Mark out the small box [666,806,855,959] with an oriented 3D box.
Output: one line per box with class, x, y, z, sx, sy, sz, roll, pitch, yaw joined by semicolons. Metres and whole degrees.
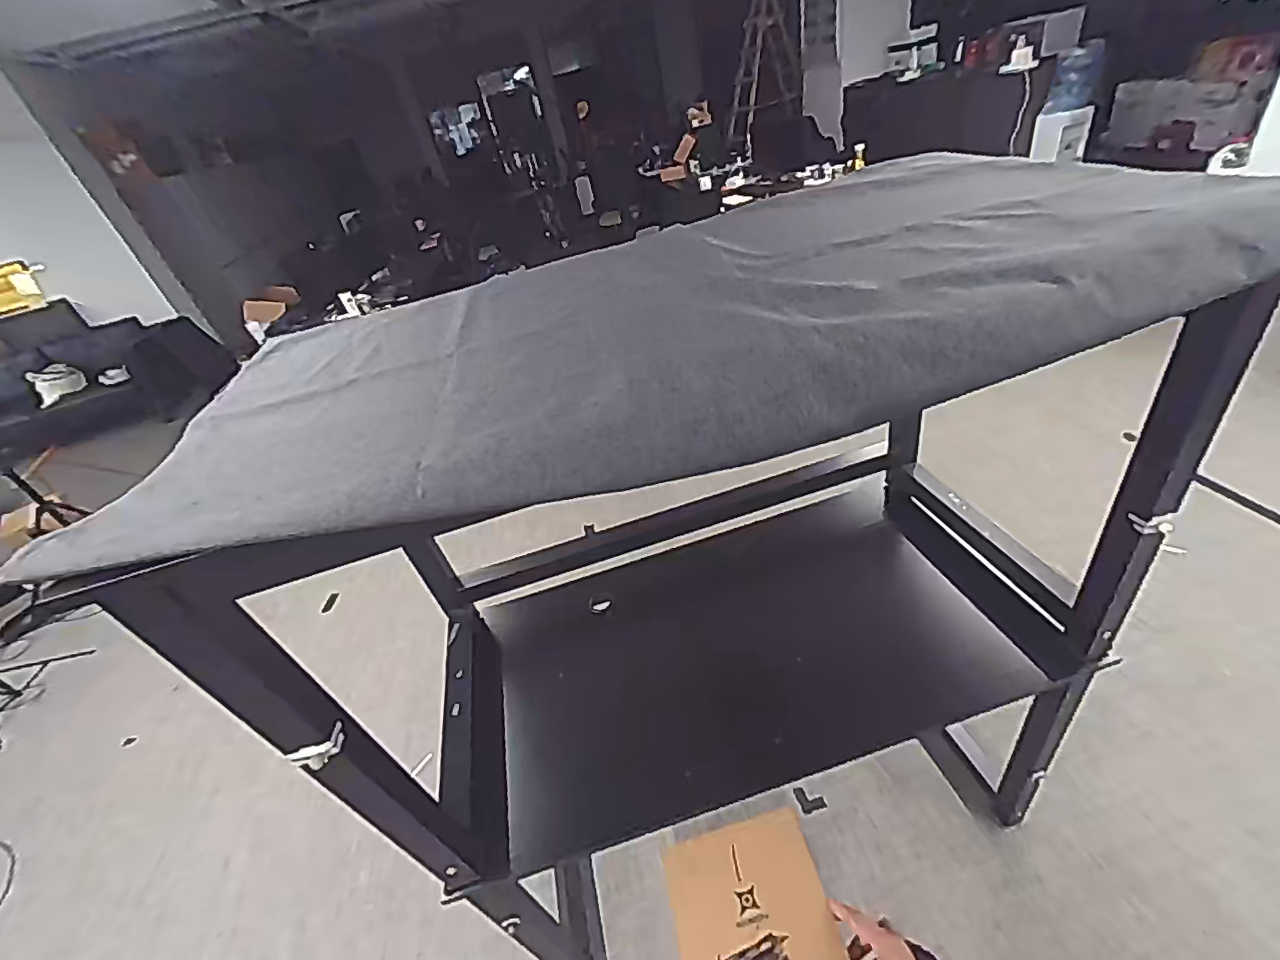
small box;0.143;0.516;0.604;0.168;0.176;0.179;-19;28;1
